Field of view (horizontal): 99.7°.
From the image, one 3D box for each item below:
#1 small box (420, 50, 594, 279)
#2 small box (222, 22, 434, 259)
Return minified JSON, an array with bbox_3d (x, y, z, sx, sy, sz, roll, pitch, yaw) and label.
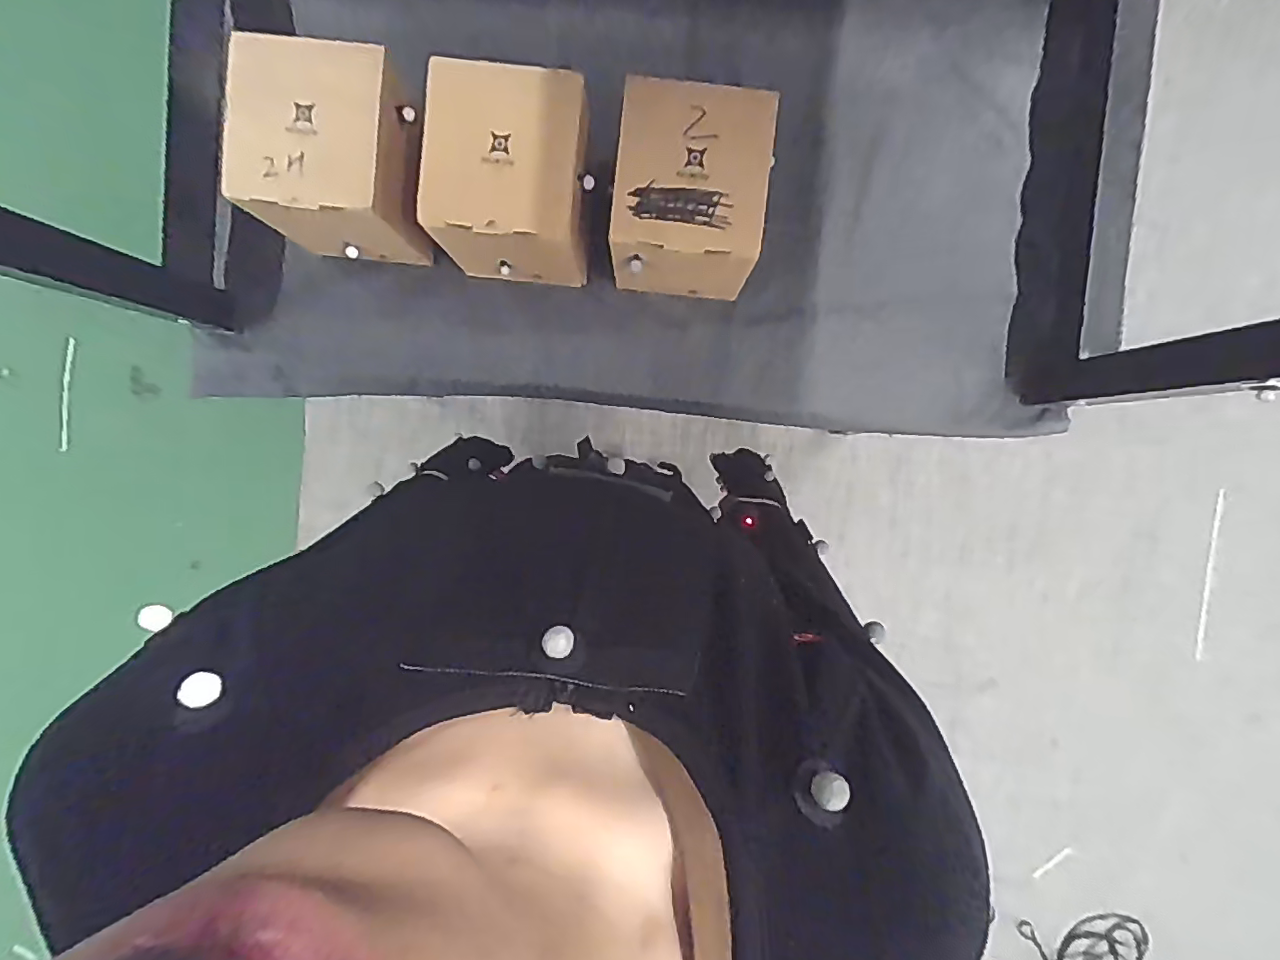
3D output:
[{"bbox_3d":[-0.148,-0.365,0.657,0.168,0.176,0.179,6,94,-1],"label":"small box"},{"bbox_3d":[-0.355,-0.391,0.652,0.168,0.176,0.179,6,93,-1],"label":"small box"}]
